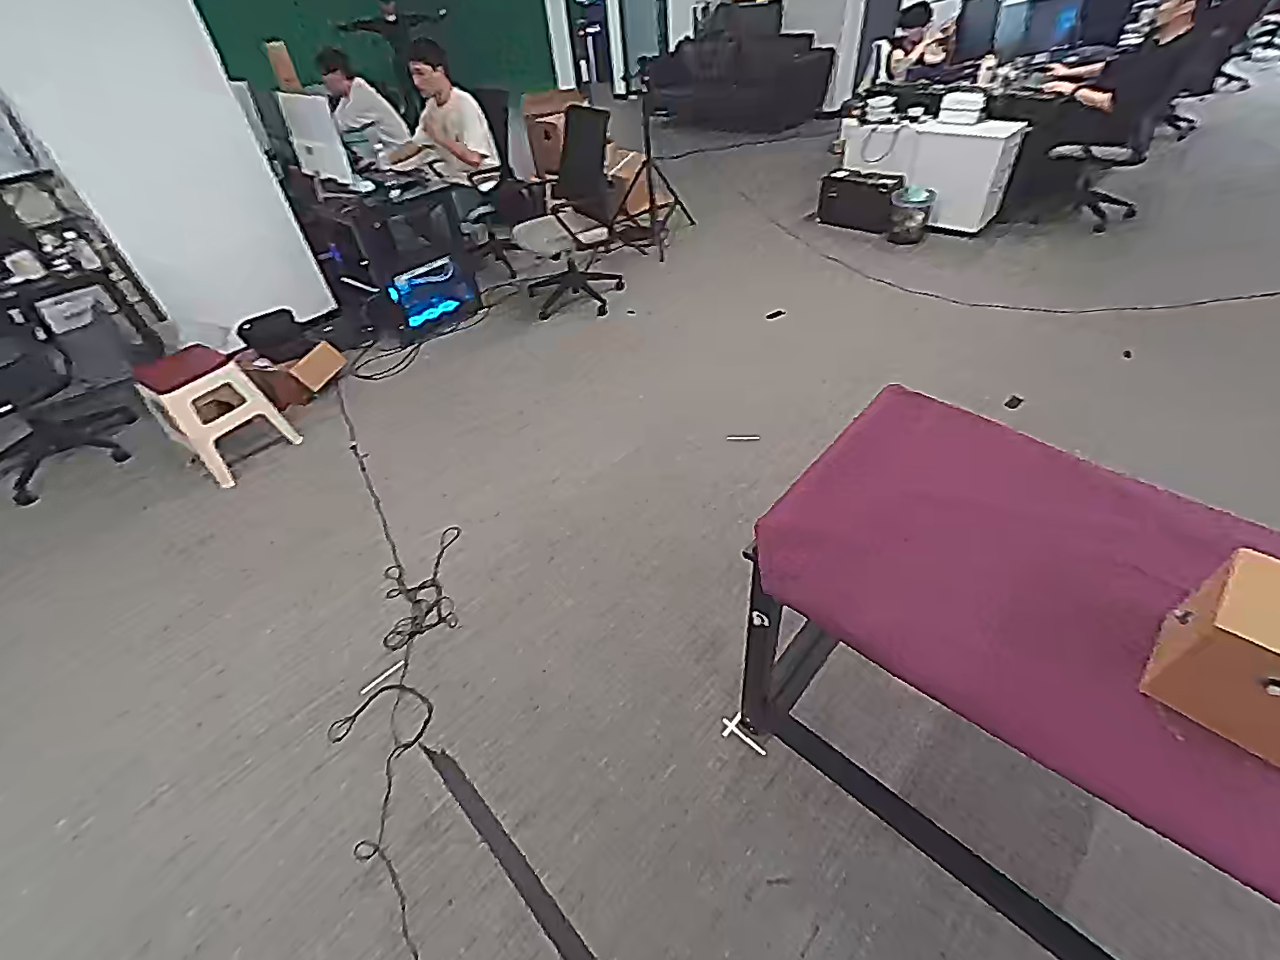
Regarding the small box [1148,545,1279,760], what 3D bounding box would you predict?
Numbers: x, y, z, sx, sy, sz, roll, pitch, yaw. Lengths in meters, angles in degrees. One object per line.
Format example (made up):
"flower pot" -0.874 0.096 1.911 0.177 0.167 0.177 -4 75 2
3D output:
"small box" 0.799 0.222 0.676 0.168 0.176 0.179 -36 51 -27
